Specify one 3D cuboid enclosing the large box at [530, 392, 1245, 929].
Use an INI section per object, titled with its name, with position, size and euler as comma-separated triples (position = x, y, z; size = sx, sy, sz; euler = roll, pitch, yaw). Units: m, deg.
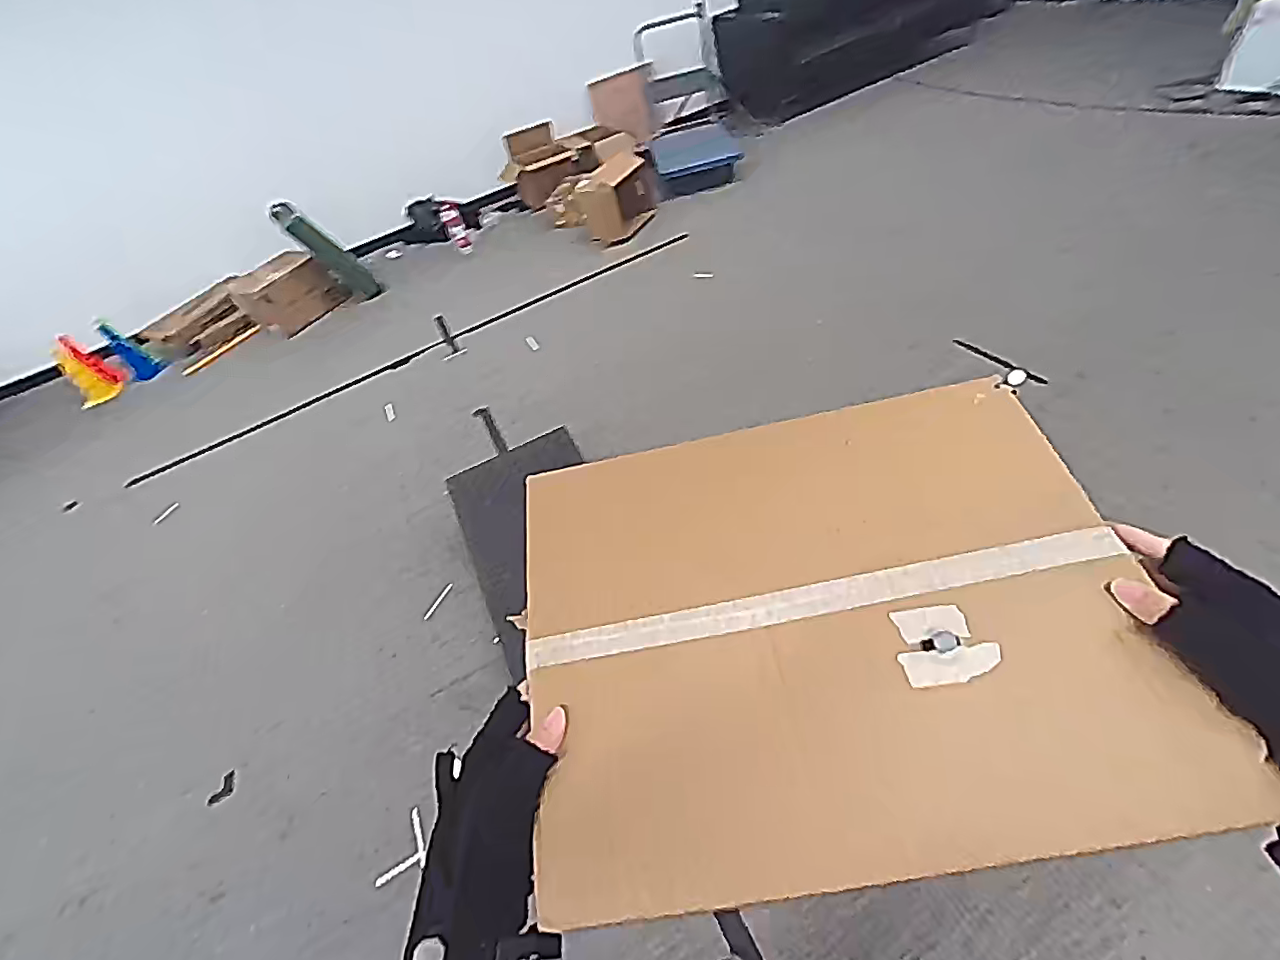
[large box]
position = 0.141, 0.173, 0.510
size = 0.408, 0.320, 0.320
euler = -13, 56, 3
